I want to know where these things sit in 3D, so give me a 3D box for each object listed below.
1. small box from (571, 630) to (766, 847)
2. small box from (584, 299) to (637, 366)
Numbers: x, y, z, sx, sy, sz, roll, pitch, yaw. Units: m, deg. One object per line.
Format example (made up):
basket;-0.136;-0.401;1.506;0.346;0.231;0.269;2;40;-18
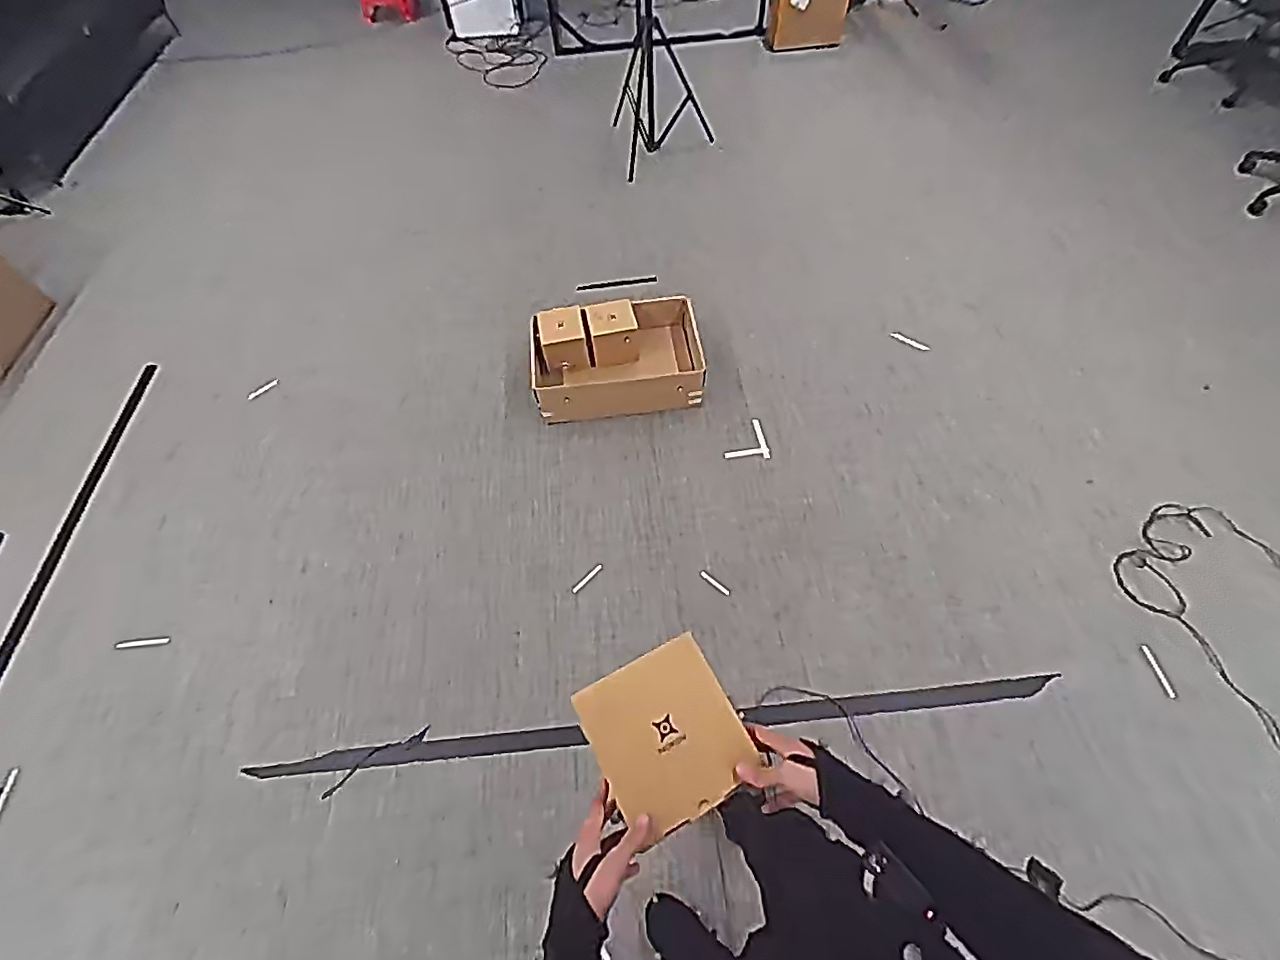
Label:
small box;0.024;0.321;0.679;0.168;0.176;0.179;-25;65;-16
small box;-0.111;-0.559;2.066;0.179;0.176;0.168;-12;59;-5
